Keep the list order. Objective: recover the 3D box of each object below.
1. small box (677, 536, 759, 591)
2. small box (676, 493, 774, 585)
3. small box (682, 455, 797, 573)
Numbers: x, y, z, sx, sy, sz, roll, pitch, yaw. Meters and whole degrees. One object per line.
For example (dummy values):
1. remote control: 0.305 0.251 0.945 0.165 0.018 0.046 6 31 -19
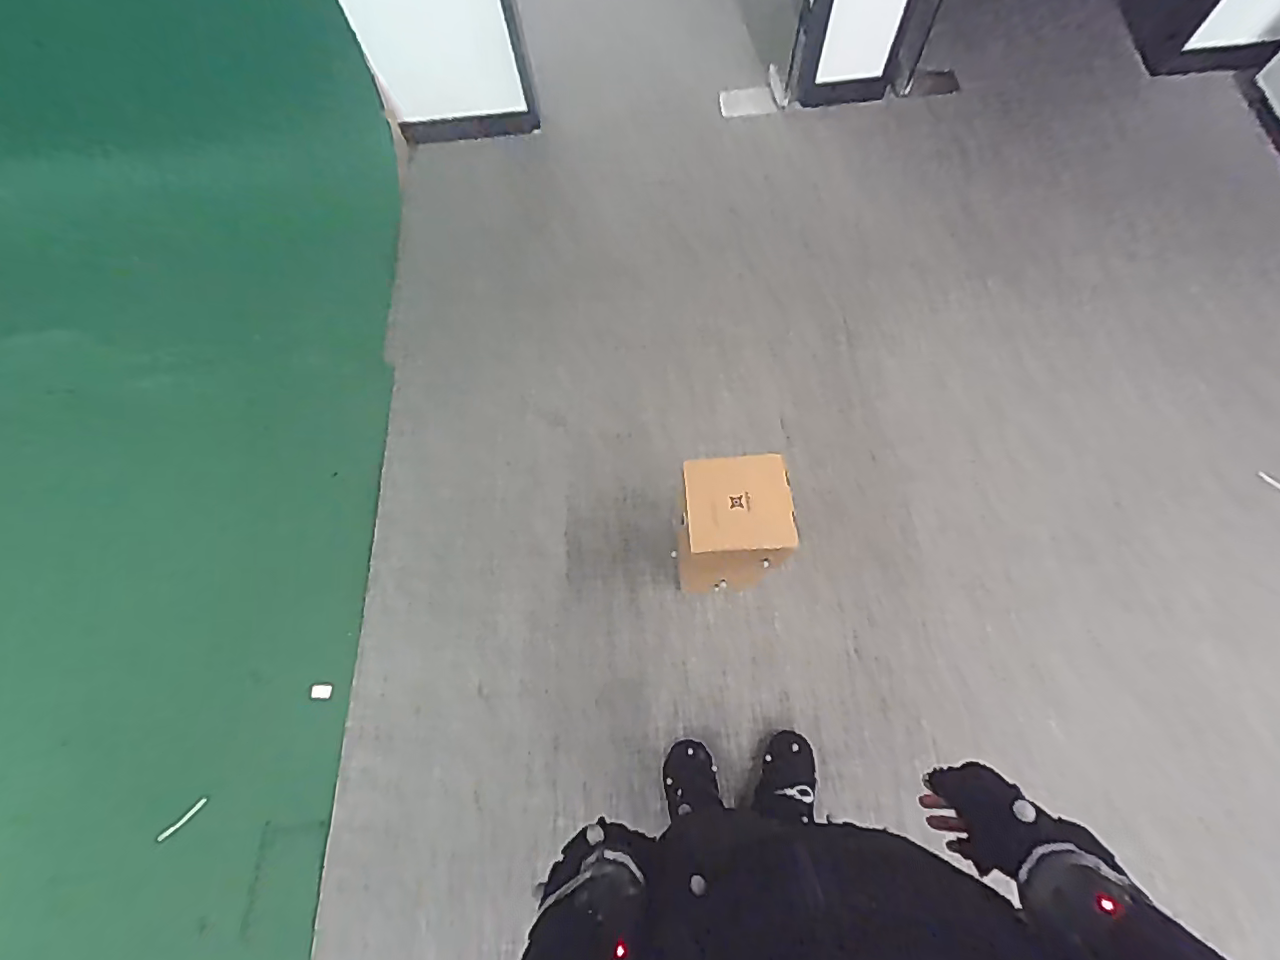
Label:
1. small box: 0.179 0.166 1.284 0.179 0.176 0.168 -4 69 4
2. small box: 0.169 0.122 1.130 0.179 0.176 0.168 -5 71 3
3. small box: 0.168 0.067 0.974 0.179 0.176 0.168 -5 68 3
